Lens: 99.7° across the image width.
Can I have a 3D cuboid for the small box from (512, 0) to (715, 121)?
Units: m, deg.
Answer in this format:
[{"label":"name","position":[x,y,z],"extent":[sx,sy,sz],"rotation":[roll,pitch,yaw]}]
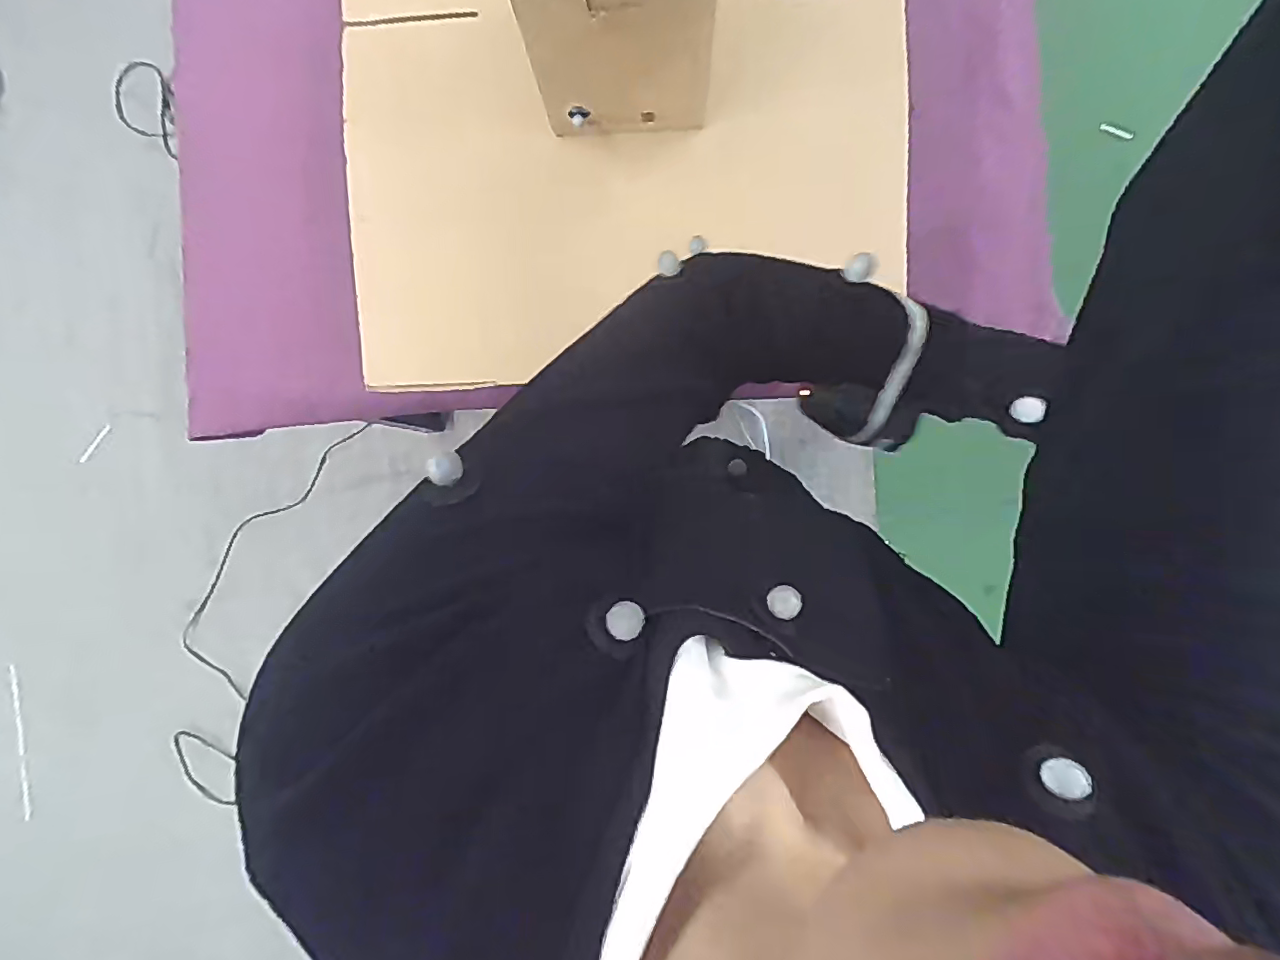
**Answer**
[{"label":"small box","position":[-0.020,-0.462,0.493],"extent":[0.168,0.176,0.179],"rotation":[-5,90,3]}]
